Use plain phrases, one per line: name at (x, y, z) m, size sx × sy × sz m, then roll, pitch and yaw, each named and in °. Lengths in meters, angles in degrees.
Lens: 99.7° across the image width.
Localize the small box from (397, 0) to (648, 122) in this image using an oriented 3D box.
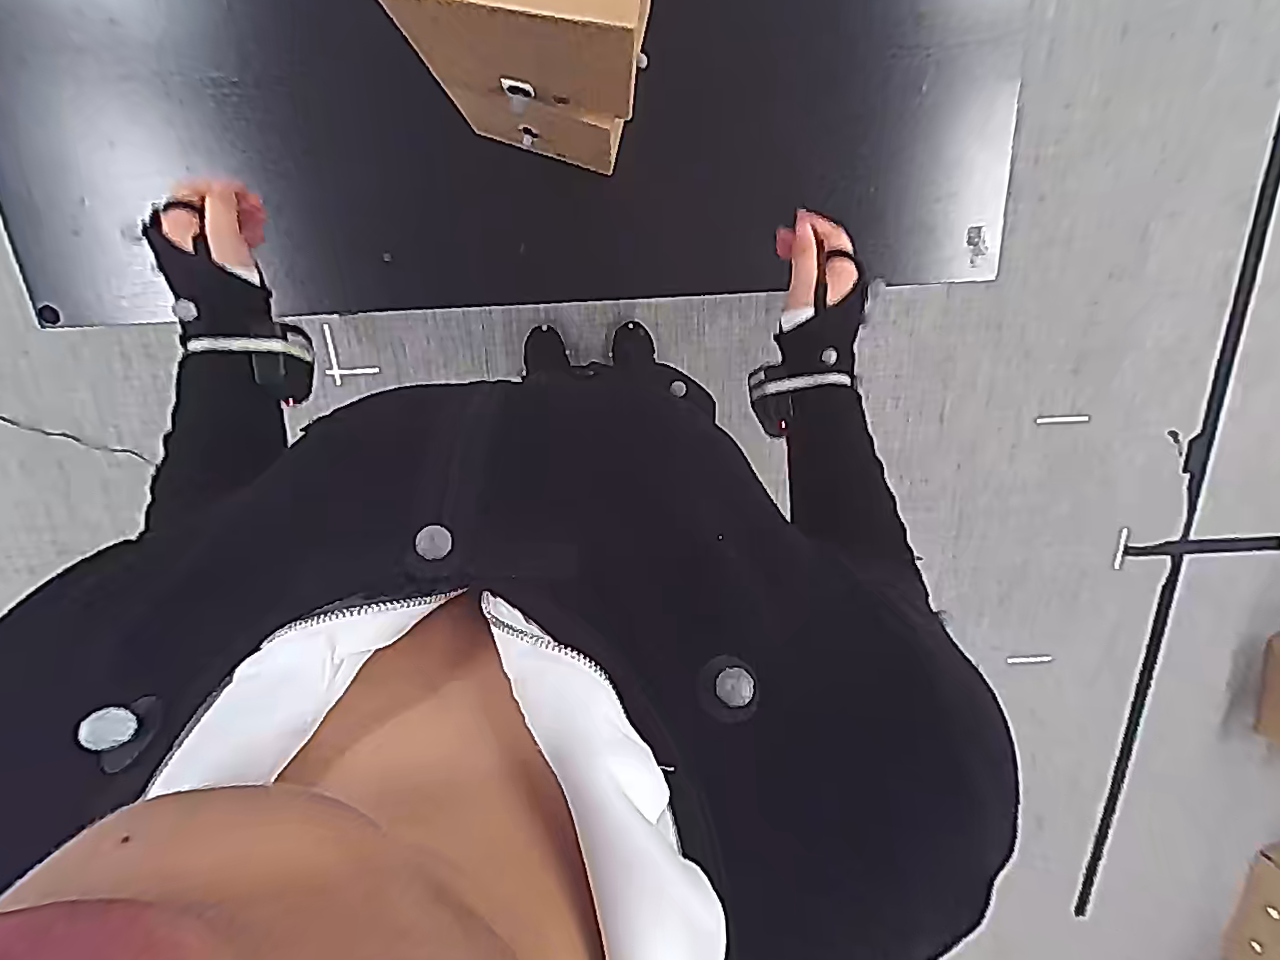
small box at (-0.074, -0.397, 0.394) m, size 0.168 × 0.176 × 0.179 m, roll 5°, pitch 107°, yaw -4°

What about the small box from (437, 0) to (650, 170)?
small box at (-0.086, -0.445, 0.550) m, size 0.168 × 0.176 × 0.179 m, roll 14°, pitch 105°, yaw -7°
